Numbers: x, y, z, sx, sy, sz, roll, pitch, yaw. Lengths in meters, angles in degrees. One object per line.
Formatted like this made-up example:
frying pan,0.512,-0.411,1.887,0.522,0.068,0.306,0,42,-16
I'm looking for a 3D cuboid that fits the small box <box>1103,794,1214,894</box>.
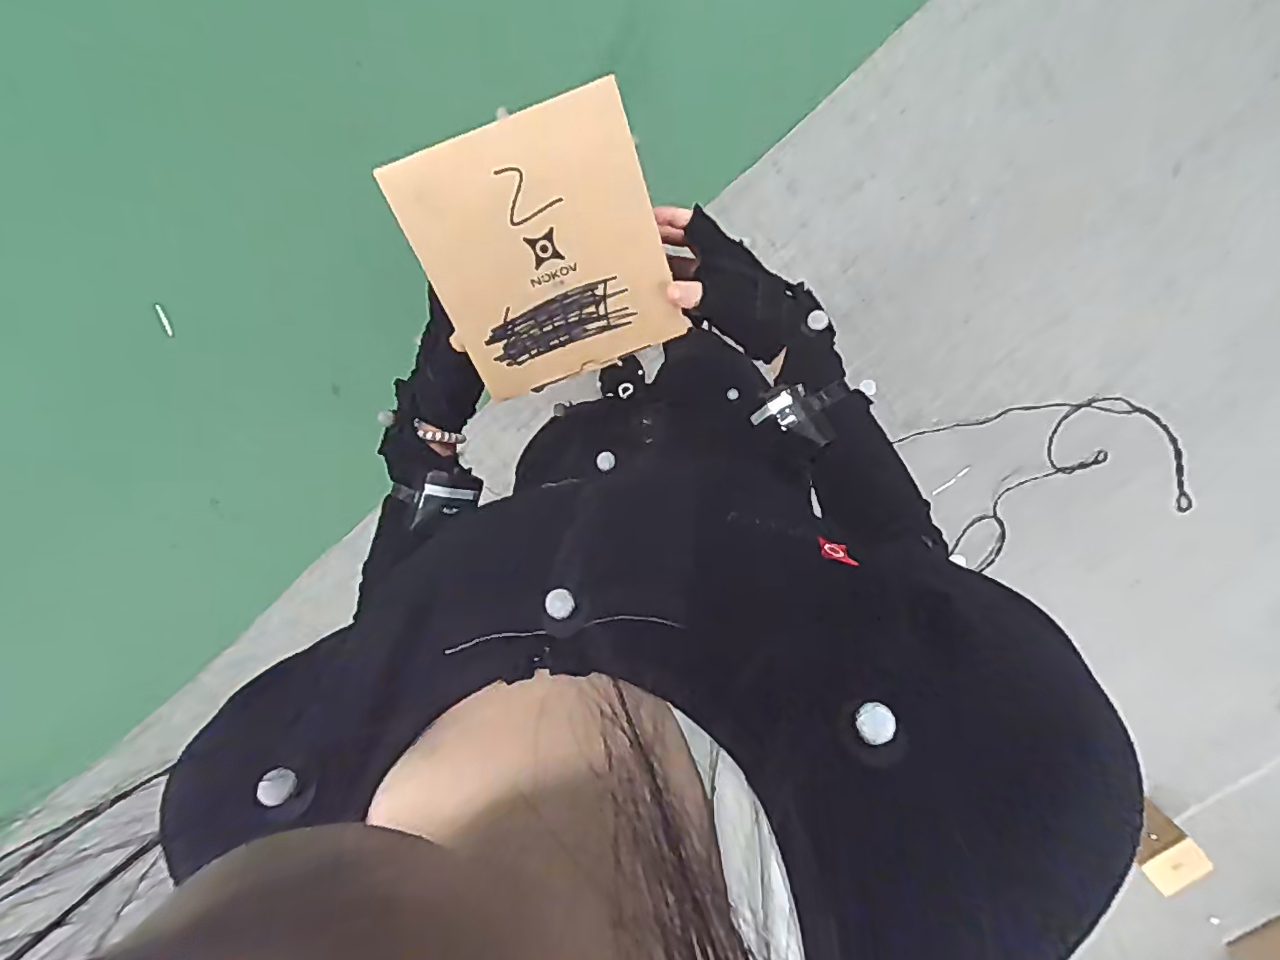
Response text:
small box,1.665,1.175,1.753,0.179,0.176,0.168,-41,101,9
